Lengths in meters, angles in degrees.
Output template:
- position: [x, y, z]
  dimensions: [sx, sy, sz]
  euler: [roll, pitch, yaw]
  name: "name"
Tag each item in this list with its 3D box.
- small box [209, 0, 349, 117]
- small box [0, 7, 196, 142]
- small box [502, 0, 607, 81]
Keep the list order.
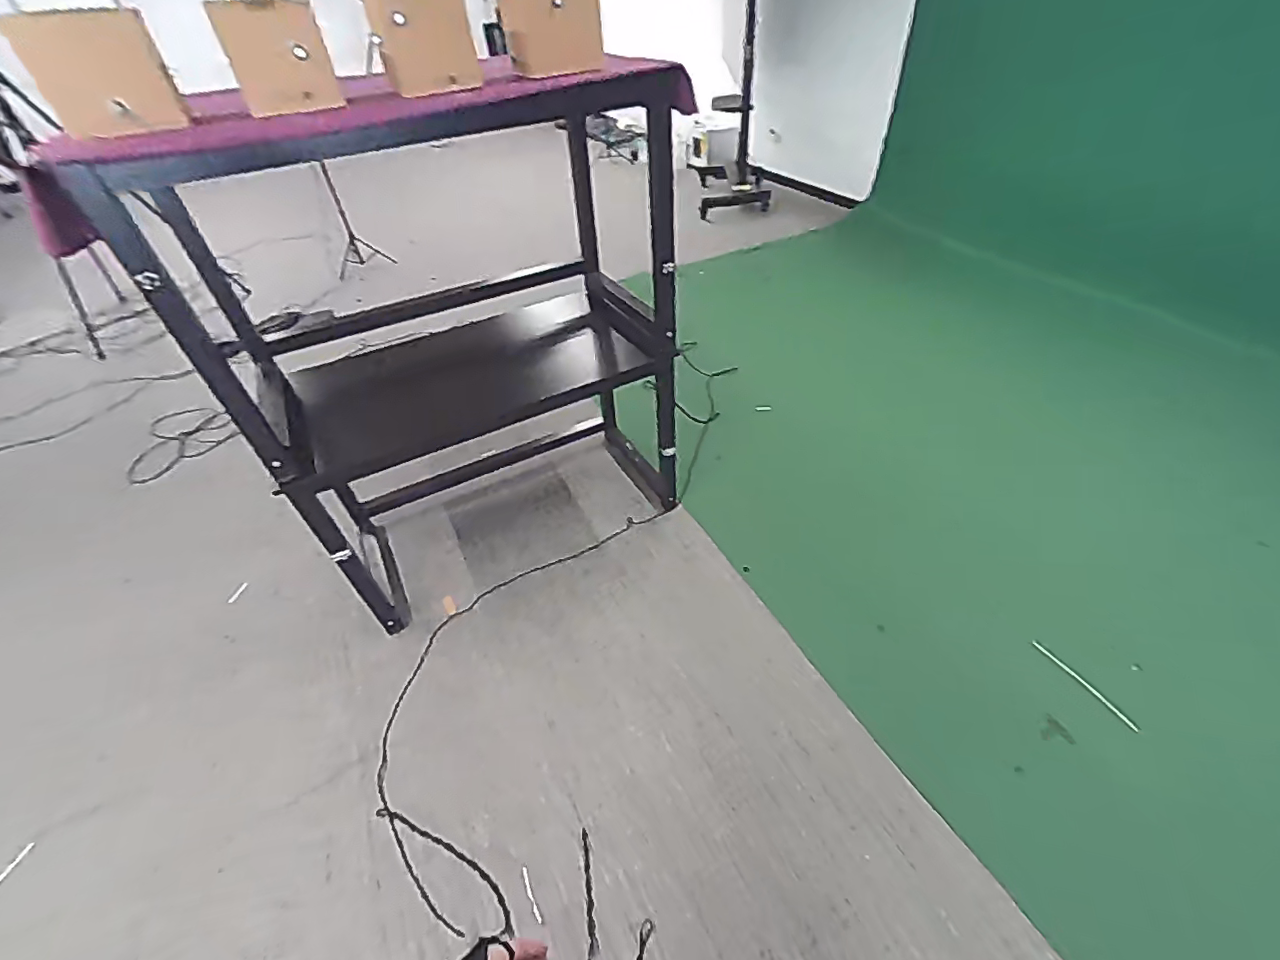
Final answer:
- position: [-0.673, -0.803, 1.026]
  dimensions: [0.168, 0.176, 0.179]
  euler: [-20, 44, -18]
  name: "small box"
- position: [-0.911, -0.703, 0.934]
  dimensions: [0.179, 0.176, 0.168]
  euler: [-23, 46, -21]
  name: "small box"
- position: [-0.188, -1.003, 1.201]
  dimensions: [0.179, 0.176, 0.168]
  euler: [-22, 45, -18]
  name: "small box"
